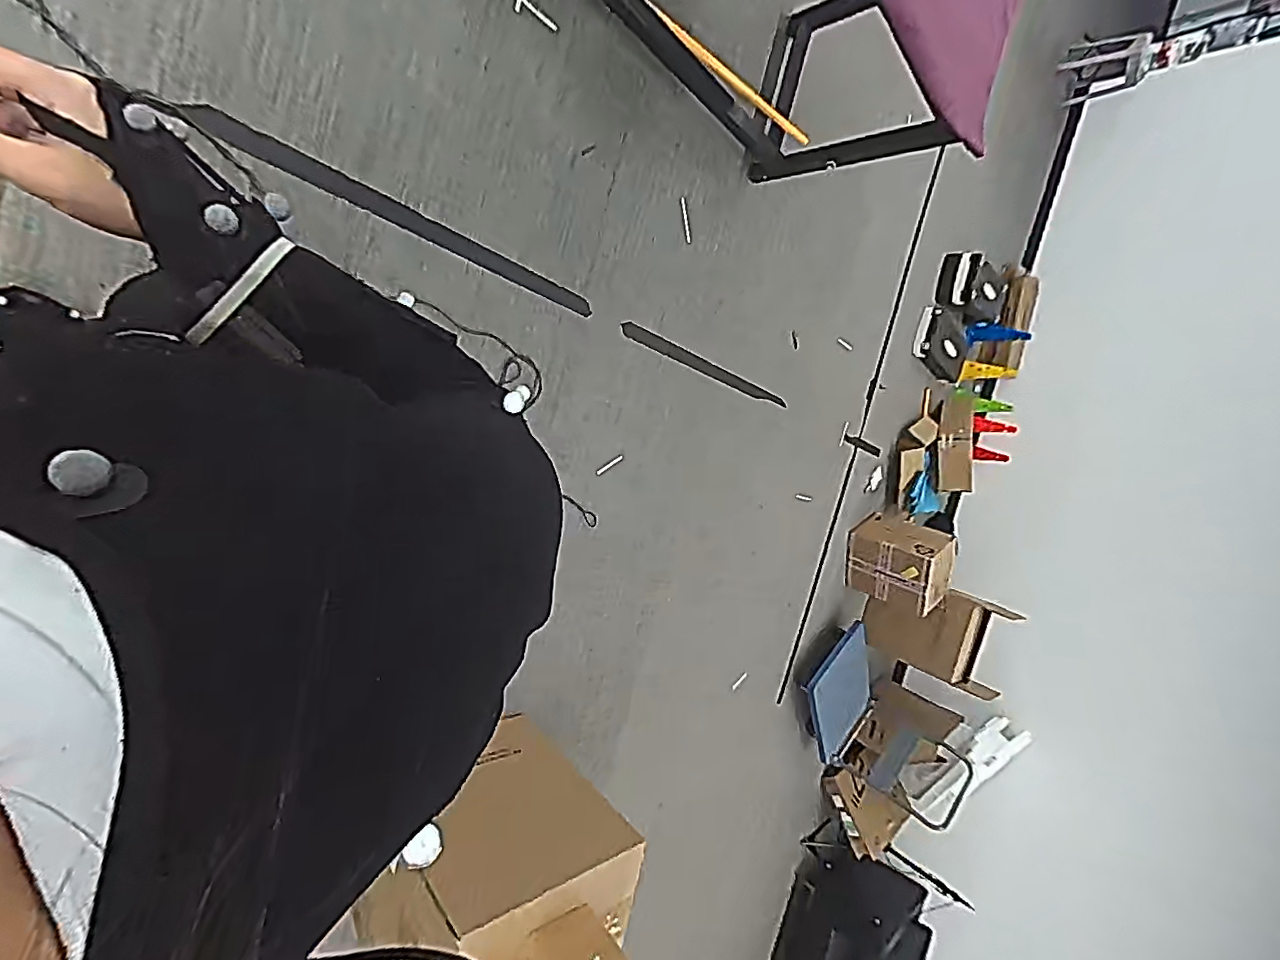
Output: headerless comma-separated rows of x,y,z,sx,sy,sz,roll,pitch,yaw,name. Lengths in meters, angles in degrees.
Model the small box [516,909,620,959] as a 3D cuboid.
-0.171,1.094,1.170,0.179,0.176,0.168,15,93,-47,small box
